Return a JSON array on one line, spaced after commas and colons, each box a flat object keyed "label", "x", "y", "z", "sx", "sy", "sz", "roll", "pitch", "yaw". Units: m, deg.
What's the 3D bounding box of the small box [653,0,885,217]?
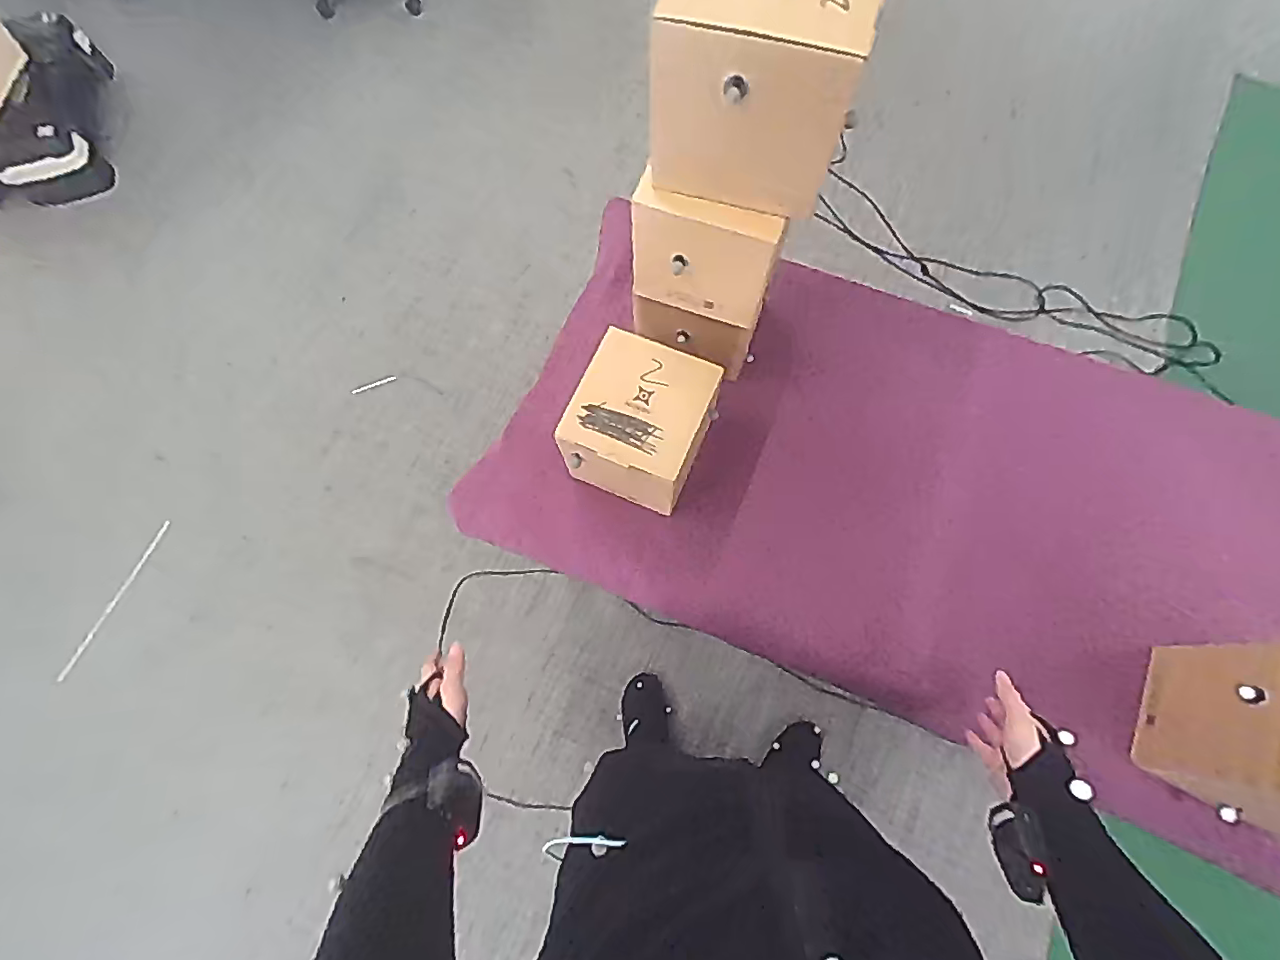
[{"label": "small box", "x": 0.118, "y": -0.389, "z": 0.522, "sx": 0.179, "sy": 0.176, "sz": 0.168, "roll": 17, "pitch": 74, "yaw": 6}]

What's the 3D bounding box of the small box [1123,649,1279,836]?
[{"label": "small box", "x": 0.737, "y": 0.310, "z": 0.632, "sx": 0.179, "sy": 0.176, "sz": 0.168, "roll": 26, "pitch": 74, "yaw": 9}]

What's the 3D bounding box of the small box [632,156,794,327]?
[{"label": "small box", "x": 0.100, "y": -0.322, "z": 0.674, "sx": 0.168, "sy": 0.176, "sz": 0.179, "roll": 20, "pitch": 74, "yaw": 7}]
